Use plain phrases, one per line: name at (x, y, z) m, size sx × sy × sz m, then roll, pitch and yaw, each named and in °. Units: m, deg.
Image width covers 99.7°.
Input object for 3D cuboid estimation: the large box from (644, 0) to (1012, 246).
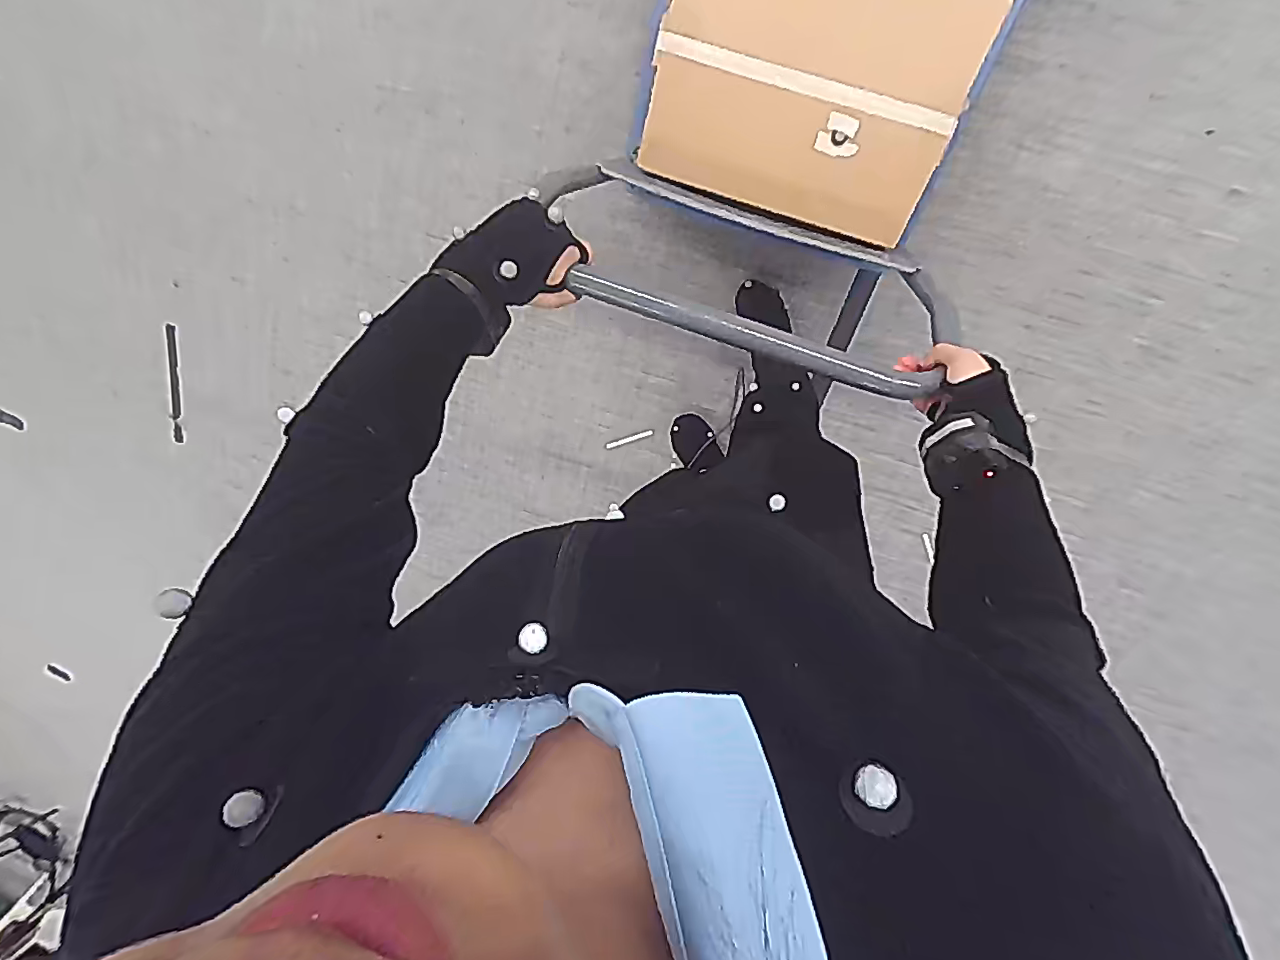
large box at (0.255, -0.600, 0.857) m, size 0.408 × 0.320 × 0.320 m, roll 19°, pitch 122°, yaw 2°
